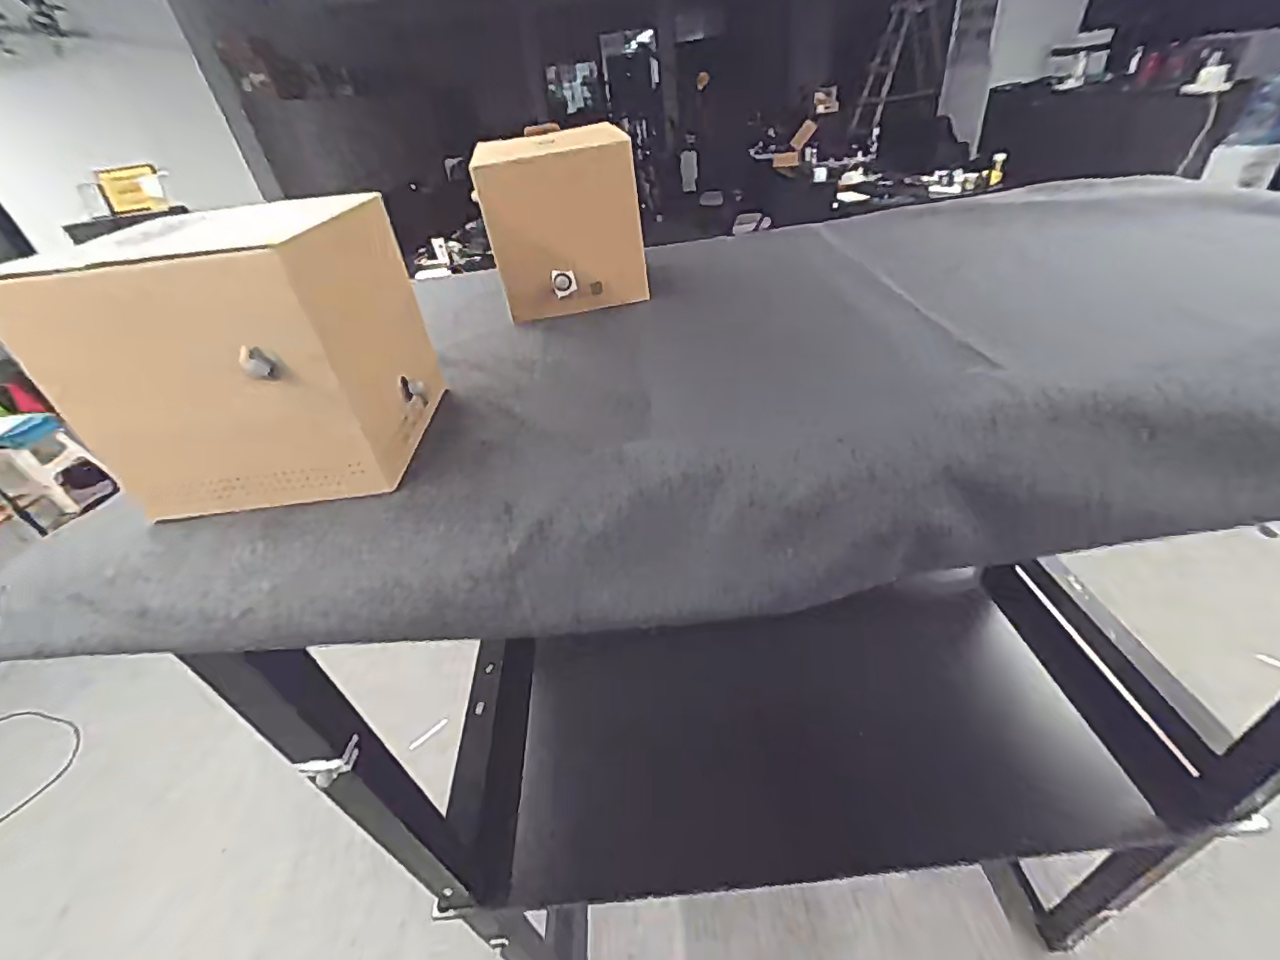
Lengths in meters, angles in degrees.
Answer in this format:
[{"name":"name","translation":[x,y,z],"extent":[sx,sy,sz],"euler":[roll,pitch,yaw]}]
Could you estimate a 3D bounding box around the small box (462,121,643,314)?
[{"name":"small box","translation":[-0.098,-0.314,0.644],"extent":[0.168,0.176,0.179],"euler":[-13,37,-4]}]
